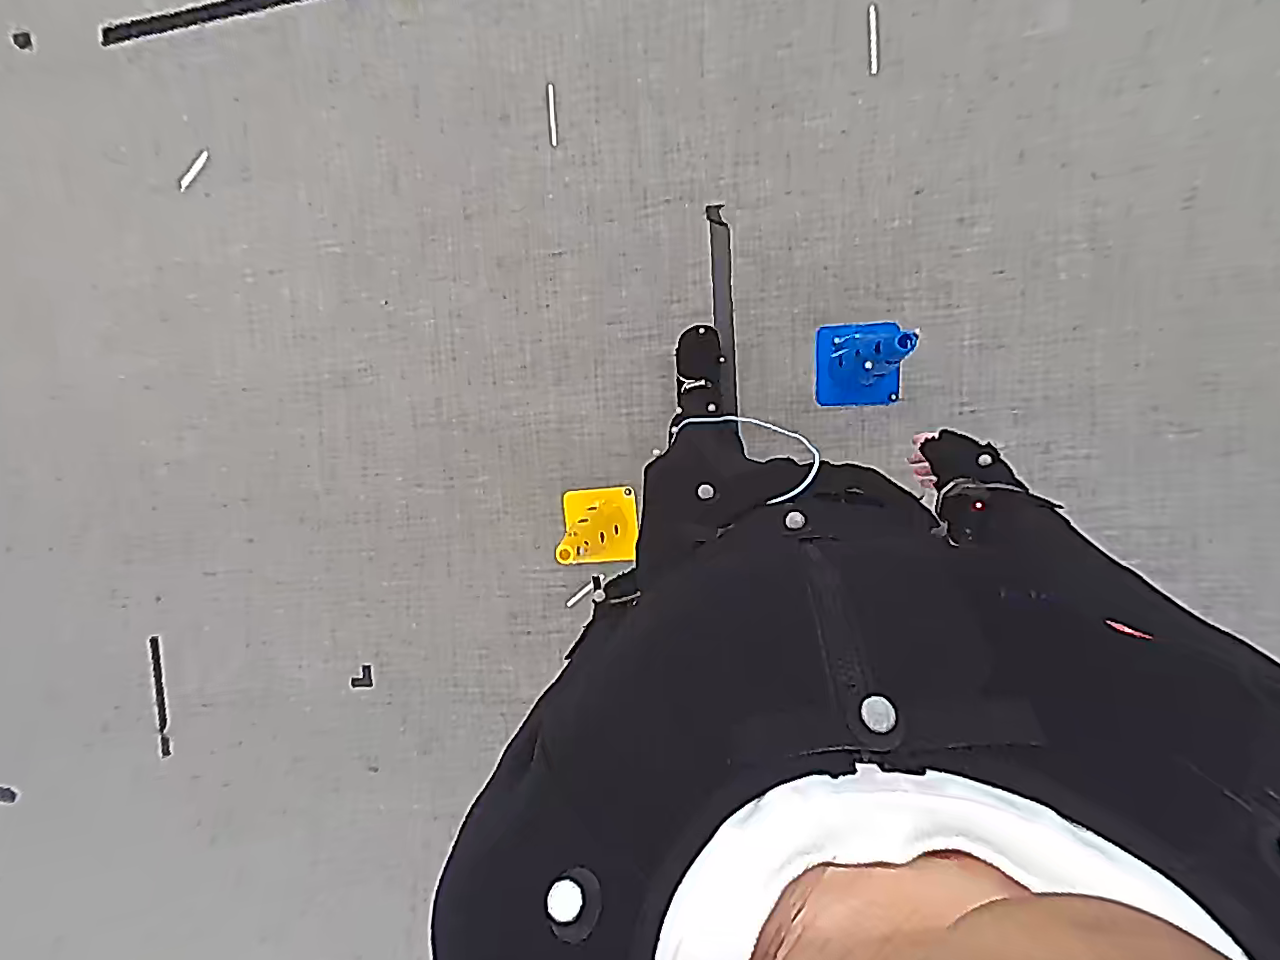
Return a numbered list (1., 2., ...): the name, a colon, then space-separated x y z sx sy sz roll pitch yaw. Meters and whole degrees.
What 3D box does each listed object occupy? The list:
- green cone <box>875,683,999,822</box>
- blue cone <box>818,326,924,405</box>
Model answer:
1. green cone: 0.687 0.632 1.216 0.202 0.368 0.200 -3 94 7
2. blue cone: 0.523 -0.272 1.187 0.192 0.380 0.193 1 95 7
